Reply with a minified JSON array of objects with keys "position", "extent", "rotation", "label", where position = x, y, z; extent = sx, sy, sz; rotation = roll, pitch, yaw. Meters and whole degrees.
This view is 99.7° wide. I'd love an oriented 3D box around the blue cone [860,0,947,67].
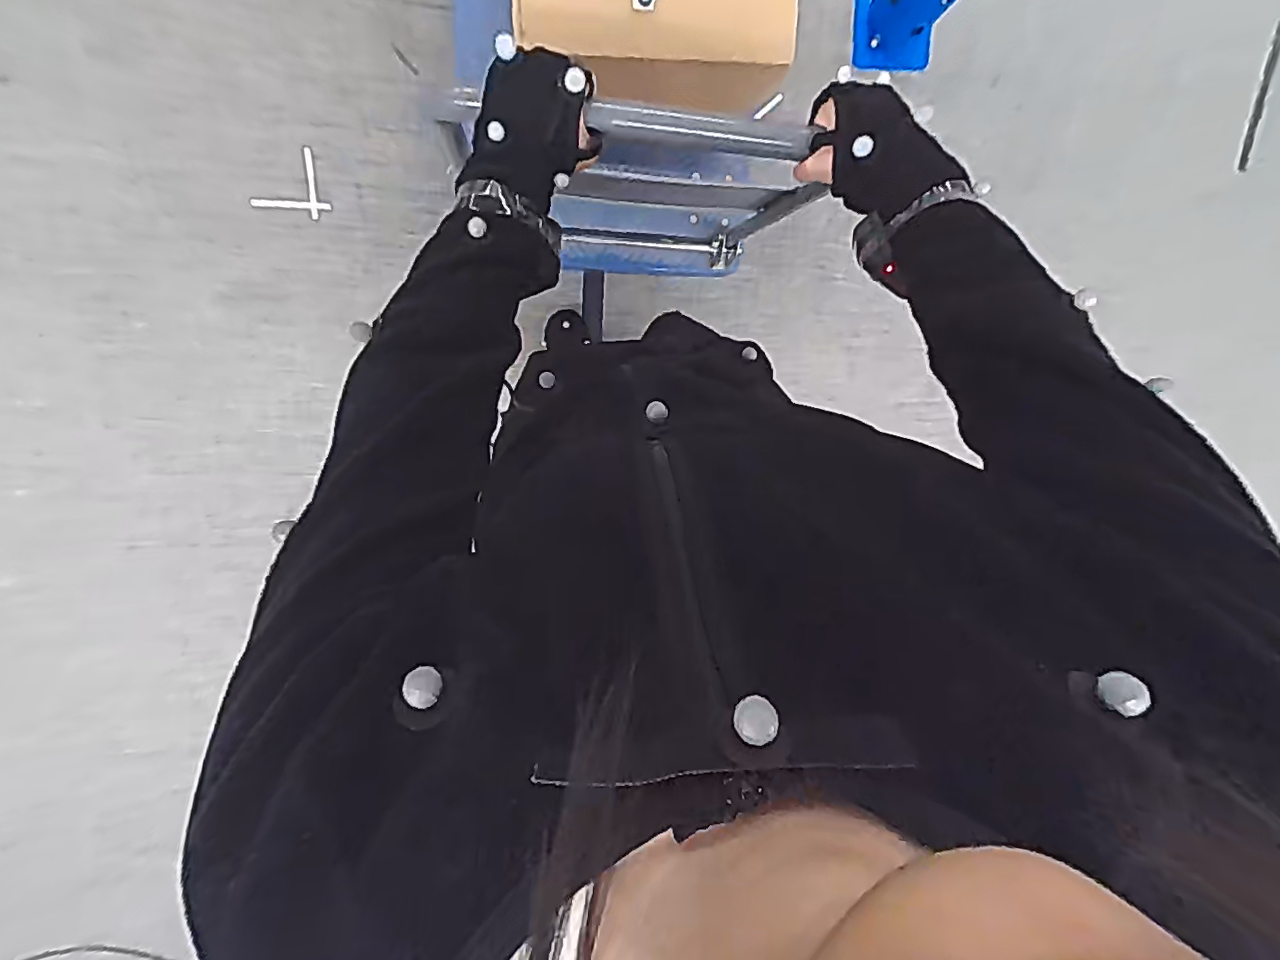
[{"position":[0.630,-1.033,1.103],"extent":[0.193,0.380,0.192],"rotation":[-5,106,-11],"label":"blue cone"}]
